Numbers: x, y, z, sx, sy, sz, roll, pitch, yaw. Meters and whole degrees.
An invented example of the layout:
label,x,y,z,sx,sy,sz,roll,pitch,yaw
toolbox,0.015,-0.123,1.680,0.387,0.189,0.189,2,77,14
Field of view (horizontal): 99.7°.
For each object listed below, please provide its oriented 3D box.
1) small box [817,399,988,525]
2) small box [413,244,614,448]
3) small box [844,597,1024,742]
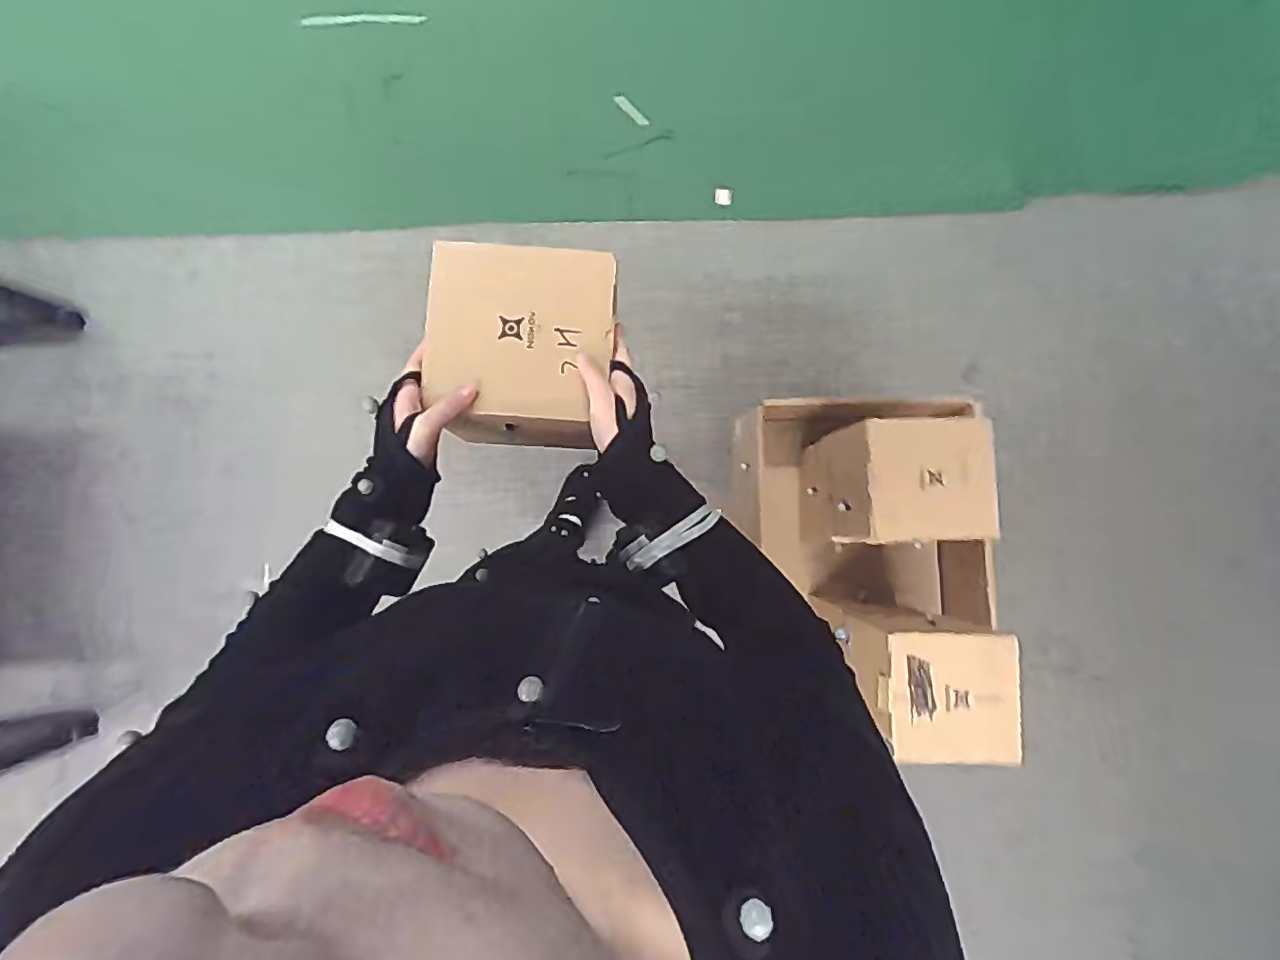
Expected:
label,x,y,z,sx,sy,sz,roll,pitch,yaw
small box,0.377,-0.019,0.811,0.179,0.176,0.168,-4,86,-1
small box,-0.121,-0.130,0.584,0.179,0.176,0.168,3,84,-2
small box,0.411,0.266,0.789,0.179,0.176,0.168,-2,85,-1
